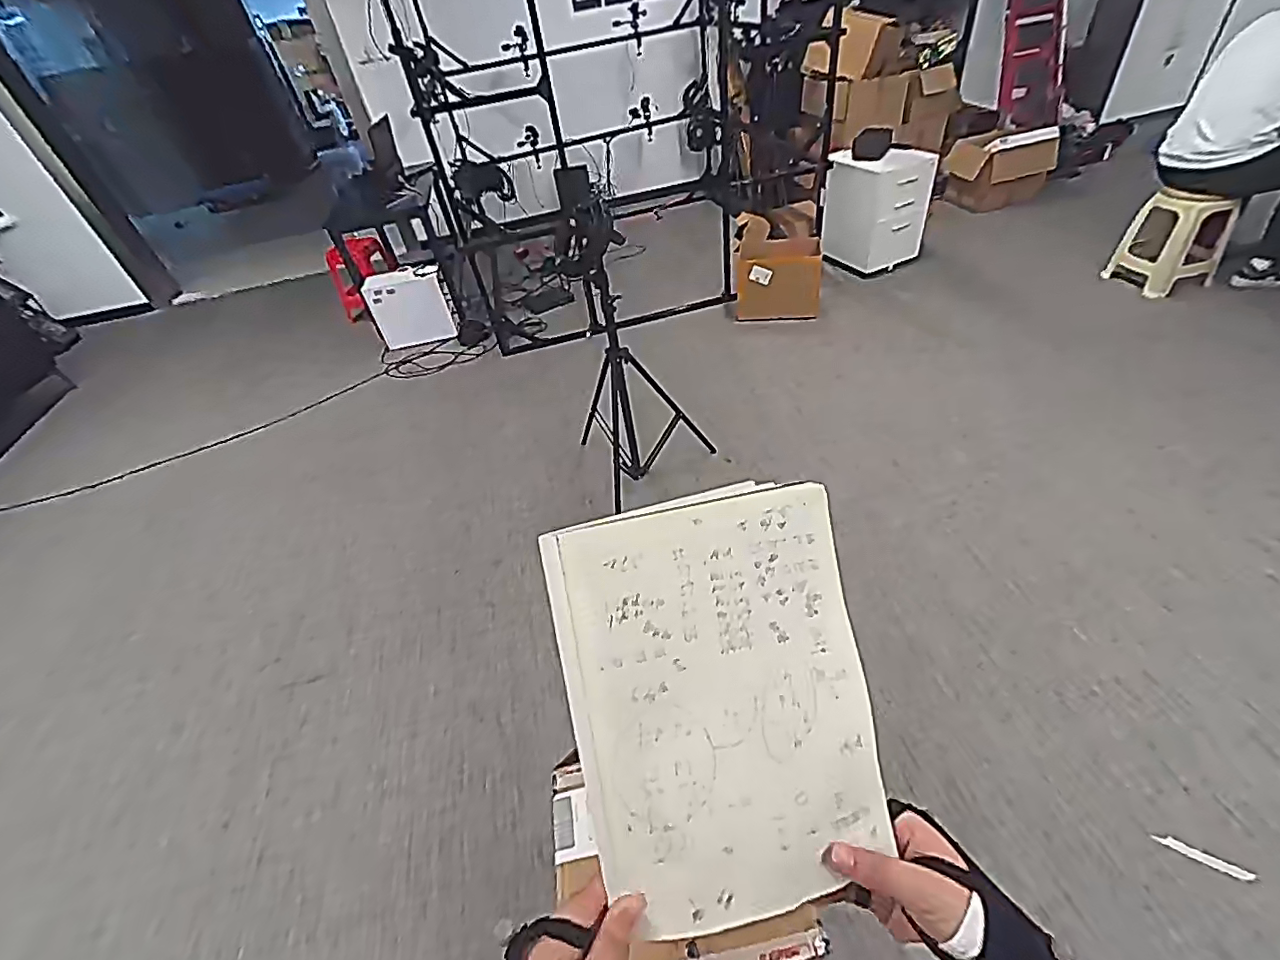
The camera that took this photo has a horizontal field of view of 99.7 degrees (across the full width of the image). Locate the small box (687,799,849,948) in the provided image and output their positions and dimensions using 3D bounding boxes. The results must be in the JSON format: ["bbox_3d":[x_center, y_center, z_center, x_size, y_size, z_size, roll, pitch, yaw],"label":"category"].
[{"bbox_3d":[0.178,0.558,0.804,0.179,0.176,0.168,-15,43,-7],"label":"small box"}]

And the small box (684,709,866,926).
[{"bbox_3d":[0.158,0.433,0.699,0.168,0.176,0.179,-13,43,-6],"label":"small box"}]
